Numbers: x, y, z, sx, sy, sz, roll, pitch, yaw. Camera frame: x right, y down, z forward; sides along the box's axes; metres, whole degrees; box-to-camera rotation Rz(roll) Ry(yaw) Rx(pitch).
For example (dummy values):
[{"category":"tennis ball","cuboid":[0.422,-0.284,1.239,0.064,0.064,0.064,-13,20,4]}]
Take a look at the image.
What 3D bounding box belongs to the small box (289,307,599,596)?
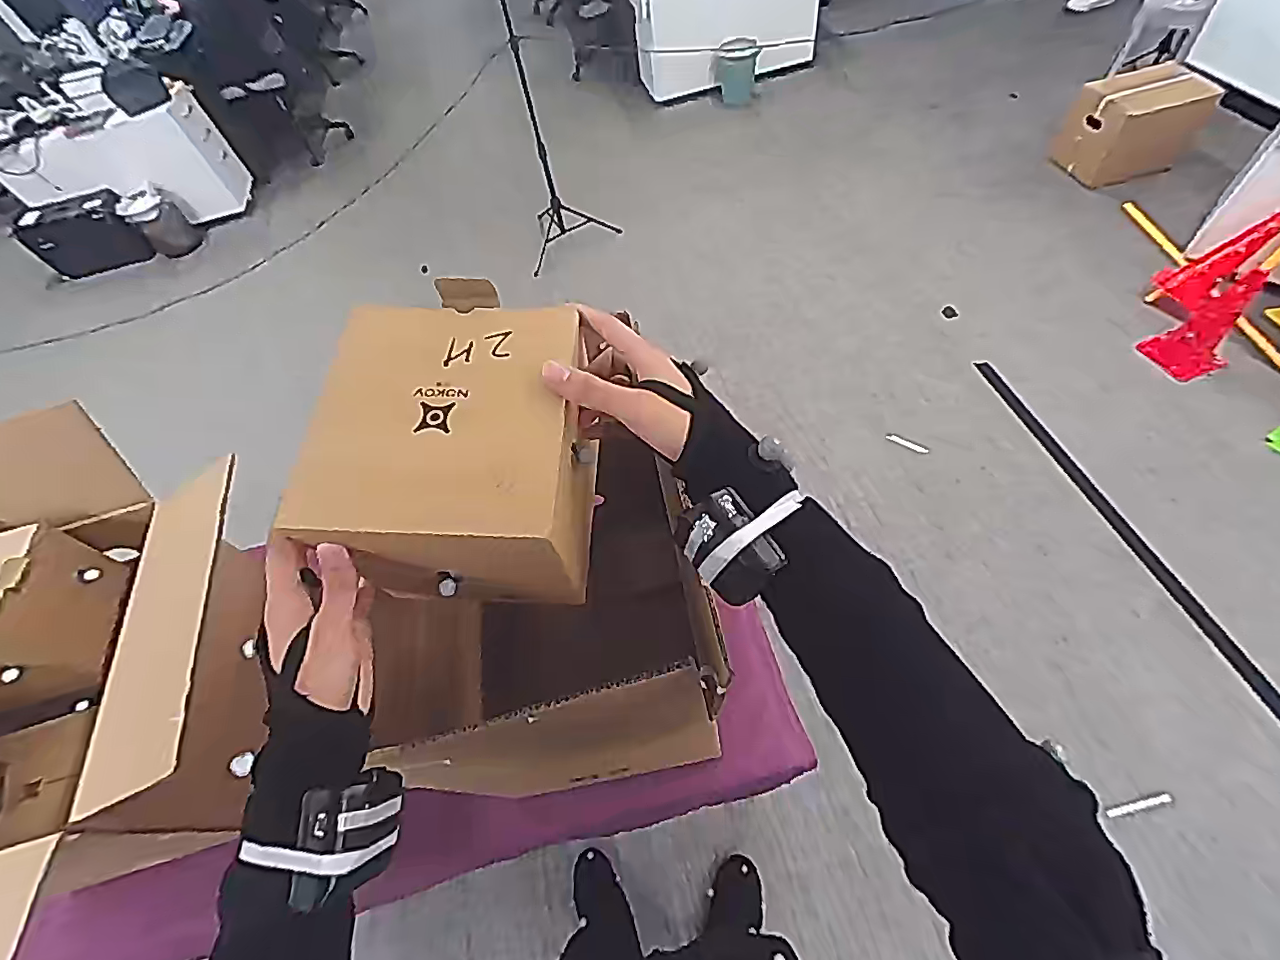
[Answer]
[{"category":"small box","cuboid":[-0.126,-0.012,0.432,0.168,0.176,0.179,2,64,3]}]
